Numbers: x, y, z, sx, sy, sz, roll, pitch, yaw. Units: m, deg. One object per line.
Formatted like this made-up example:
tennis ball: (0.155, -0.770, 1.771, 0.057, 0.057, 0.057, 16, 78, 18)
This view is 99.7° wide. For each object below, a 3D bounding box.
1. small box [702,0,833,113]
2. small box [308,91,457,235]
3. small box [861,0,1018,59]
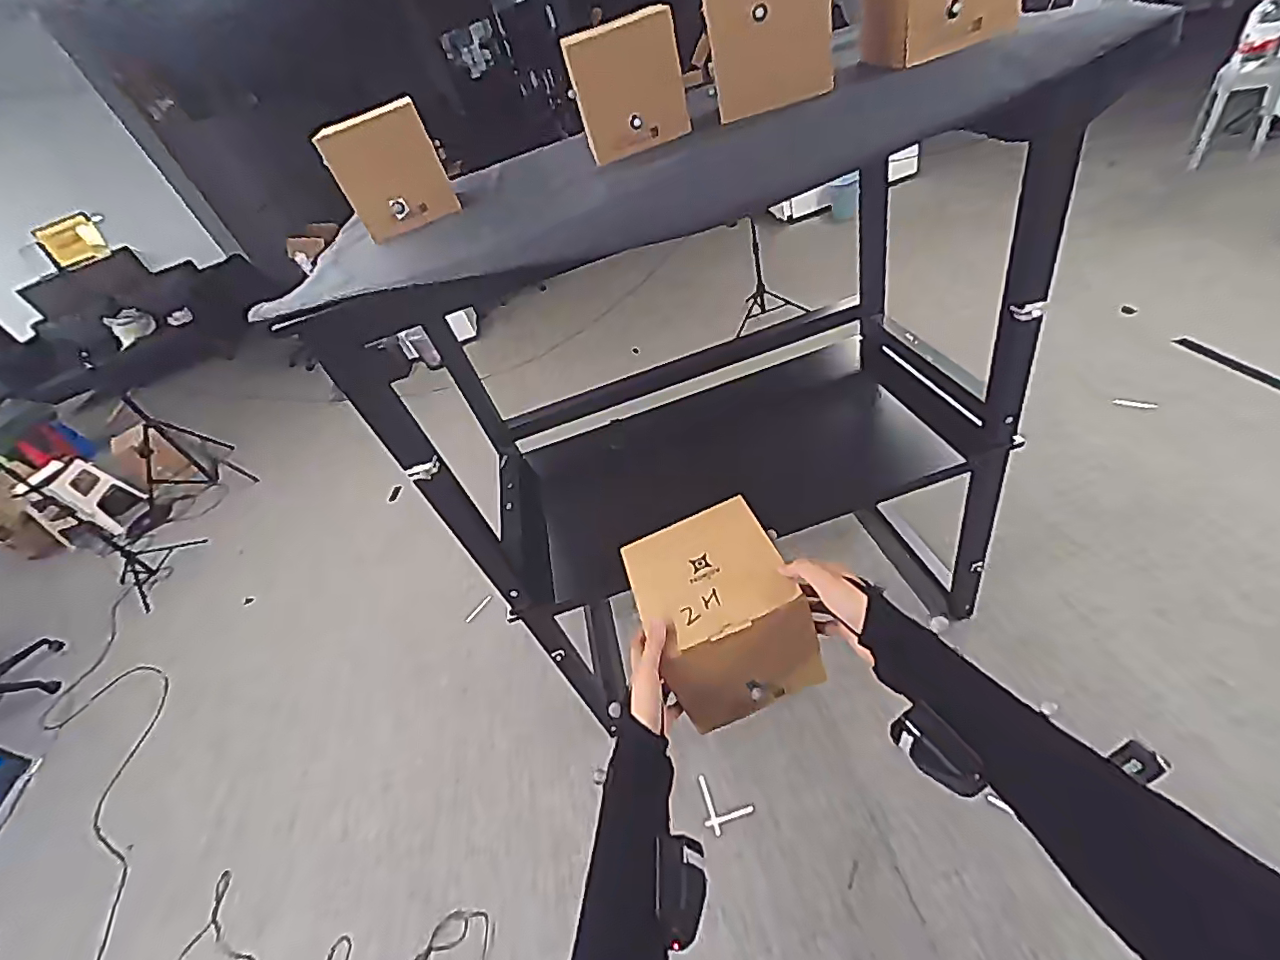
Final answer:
small box: (0.197, -0.706, 0.849, 0.179, 0.176, 0.168, -8, 42, 13)
small box: (-0.438, -0.551, 0.943, 0.168, 0.176, 0.179, -26, 42, -5)
small box: (0.439, -0.754, 0.803, 0.168, 0.176, 0.179, -16, 41, 6)
